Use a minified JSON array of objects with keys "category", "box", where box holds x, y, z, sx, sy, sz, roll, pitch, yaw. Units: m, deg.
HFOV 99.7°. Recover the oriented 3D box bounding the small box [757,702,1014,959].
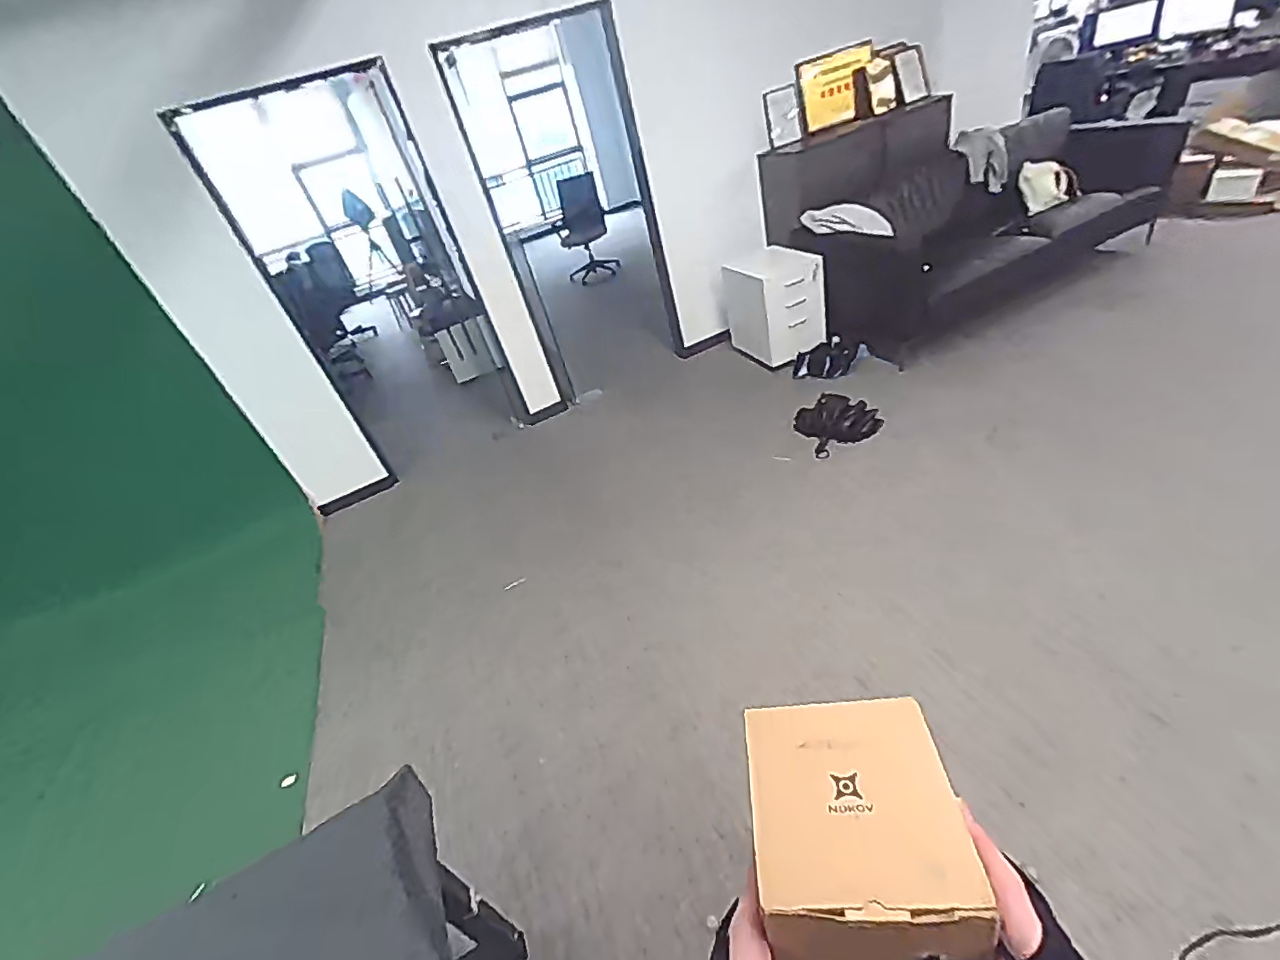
[{"category":"small box","box":[0.205,0.334,0.491,0.168,0.176,0.179,-8,27,11]}]
